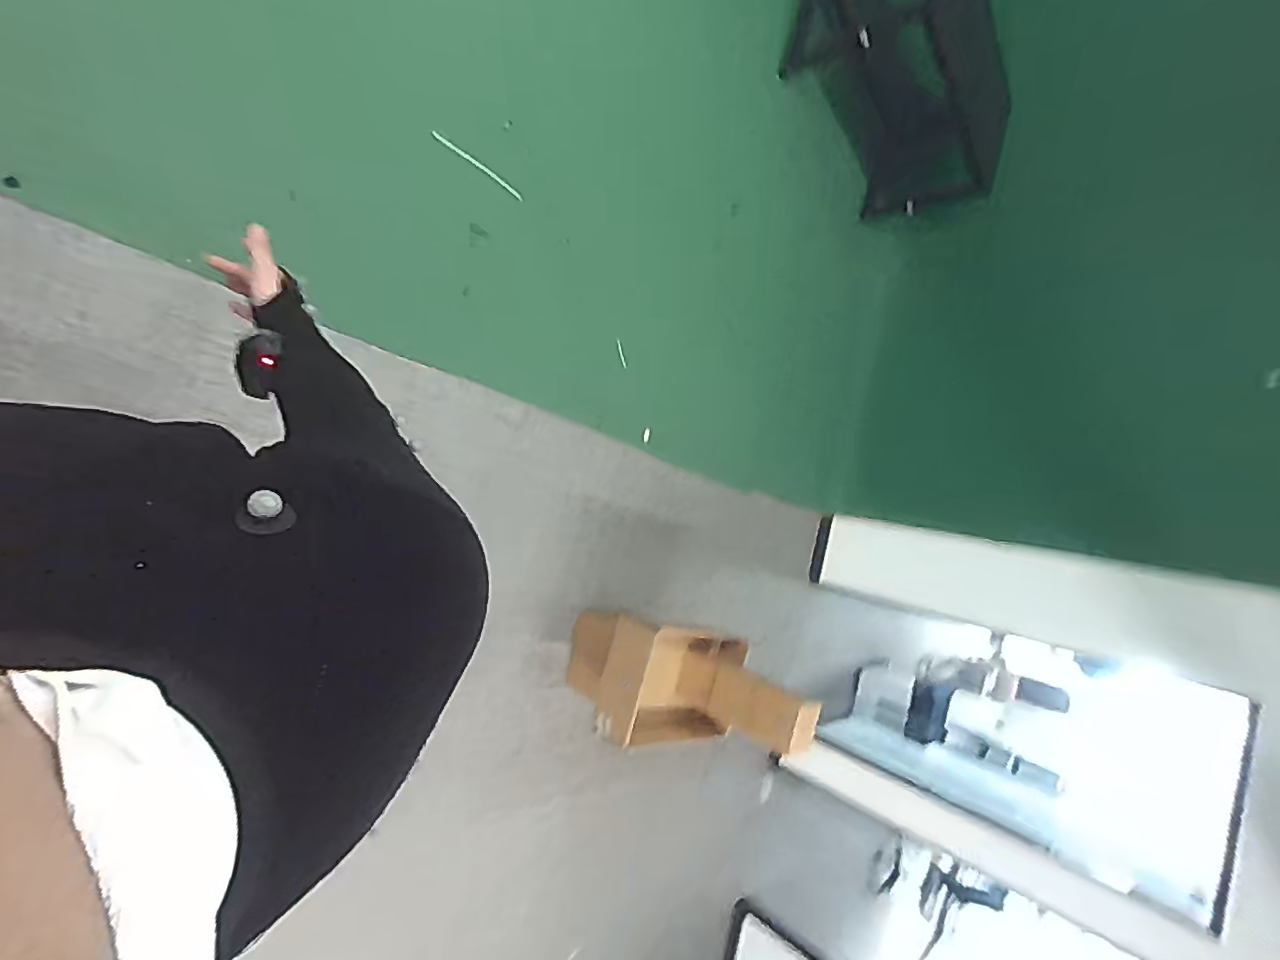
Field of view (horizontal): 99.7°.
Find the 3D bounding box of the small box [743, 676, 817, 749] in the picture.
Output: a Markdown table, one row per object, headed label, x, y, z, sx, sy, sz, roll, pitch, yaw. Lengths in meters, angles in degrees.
| label | x | y | z | sx | sy | sz | roll | pitch | yaw |
| --- | --- | --- | --- | --- | --- | --- | --- | --- | --- |
| small box | 0.478 | 0.797 | 1.864 | 0.168 | 0.176 | 0.179 | 20 | 83 | -46 |
